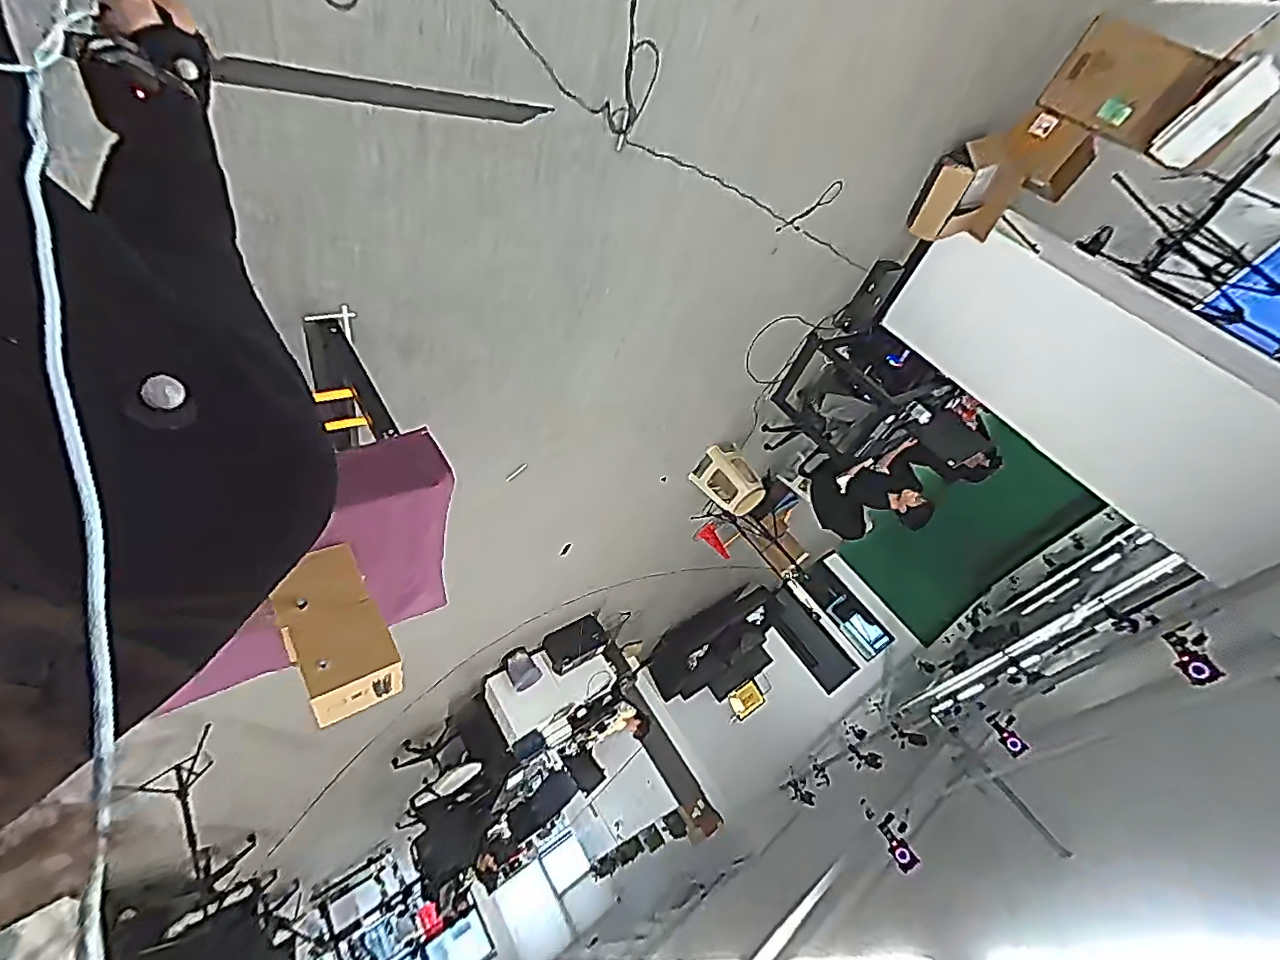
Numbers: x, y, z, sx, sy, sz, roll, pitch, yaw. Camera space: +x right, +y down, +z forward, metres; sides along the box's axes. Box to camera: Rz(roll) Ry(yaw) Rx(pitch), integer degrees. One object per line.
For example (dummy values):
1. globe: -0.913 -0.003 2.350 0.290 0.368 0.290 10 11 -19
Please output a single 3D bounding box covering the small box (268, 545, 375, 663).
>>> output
1. small box: -0.729 0.279 1.239 0.179 0.176 0.168 -18 148 -36
